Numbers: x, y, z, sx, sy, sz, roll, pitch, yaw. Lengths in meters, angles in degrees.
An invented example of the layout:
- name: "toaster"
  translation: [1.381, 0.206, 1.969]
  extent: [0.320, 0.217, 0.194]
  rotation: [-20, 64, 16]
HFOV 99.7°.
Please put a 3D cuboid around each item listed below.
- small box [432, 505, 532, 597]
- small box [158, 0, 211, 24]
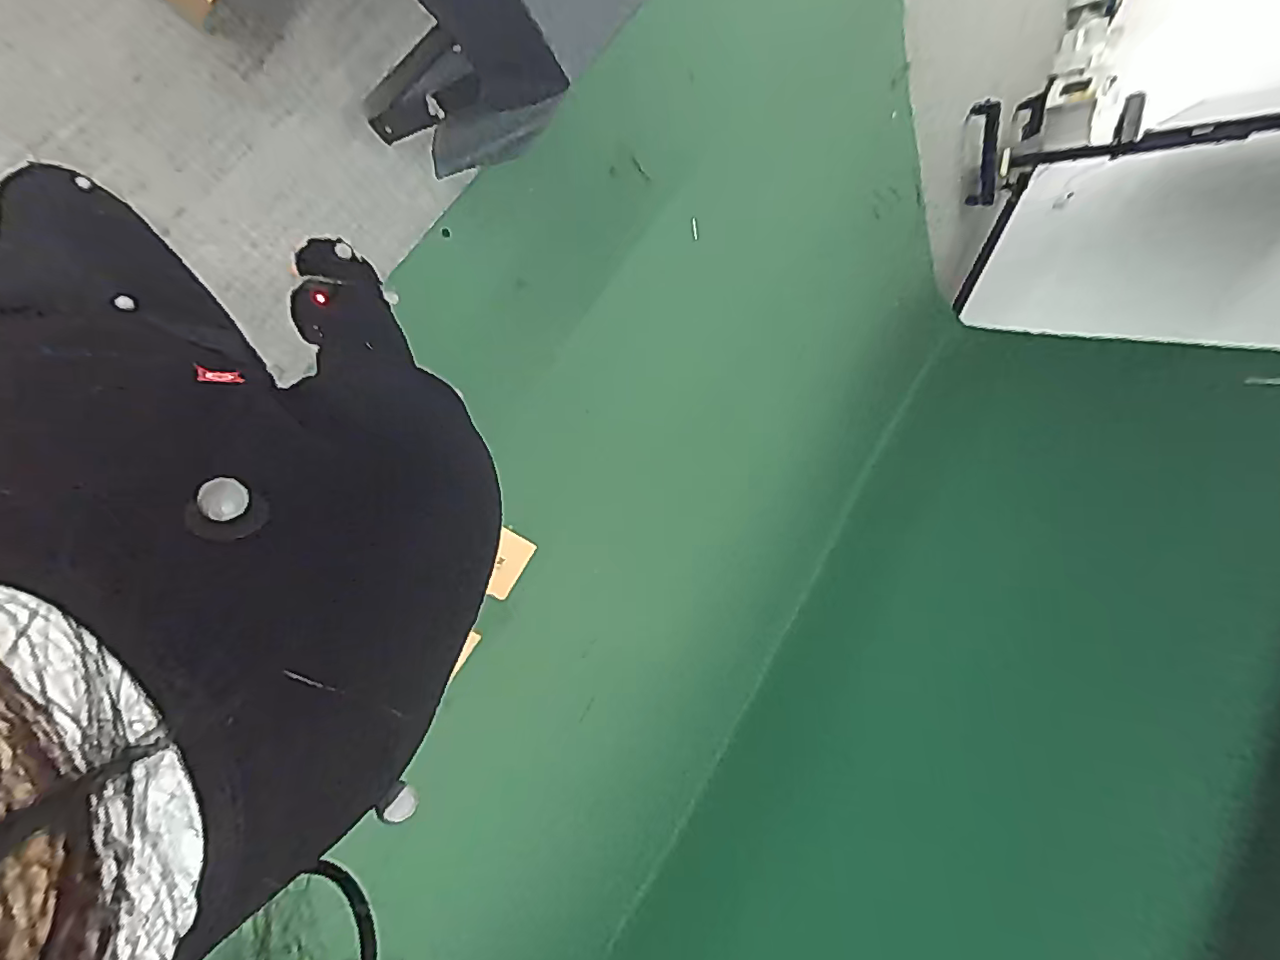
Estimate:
- name: "small box"
  translation: [-0.443, 0.193, 1.504]
  extent: [0.179, 0.176, 0.168]
  rotation: [-59, 138, -10]
- name: "small box"
  translation: [-0.799, -0.937, 0.912]
  extent: [0.168, 0.176, 0.179]
  rotation: [28, 84, -47]
